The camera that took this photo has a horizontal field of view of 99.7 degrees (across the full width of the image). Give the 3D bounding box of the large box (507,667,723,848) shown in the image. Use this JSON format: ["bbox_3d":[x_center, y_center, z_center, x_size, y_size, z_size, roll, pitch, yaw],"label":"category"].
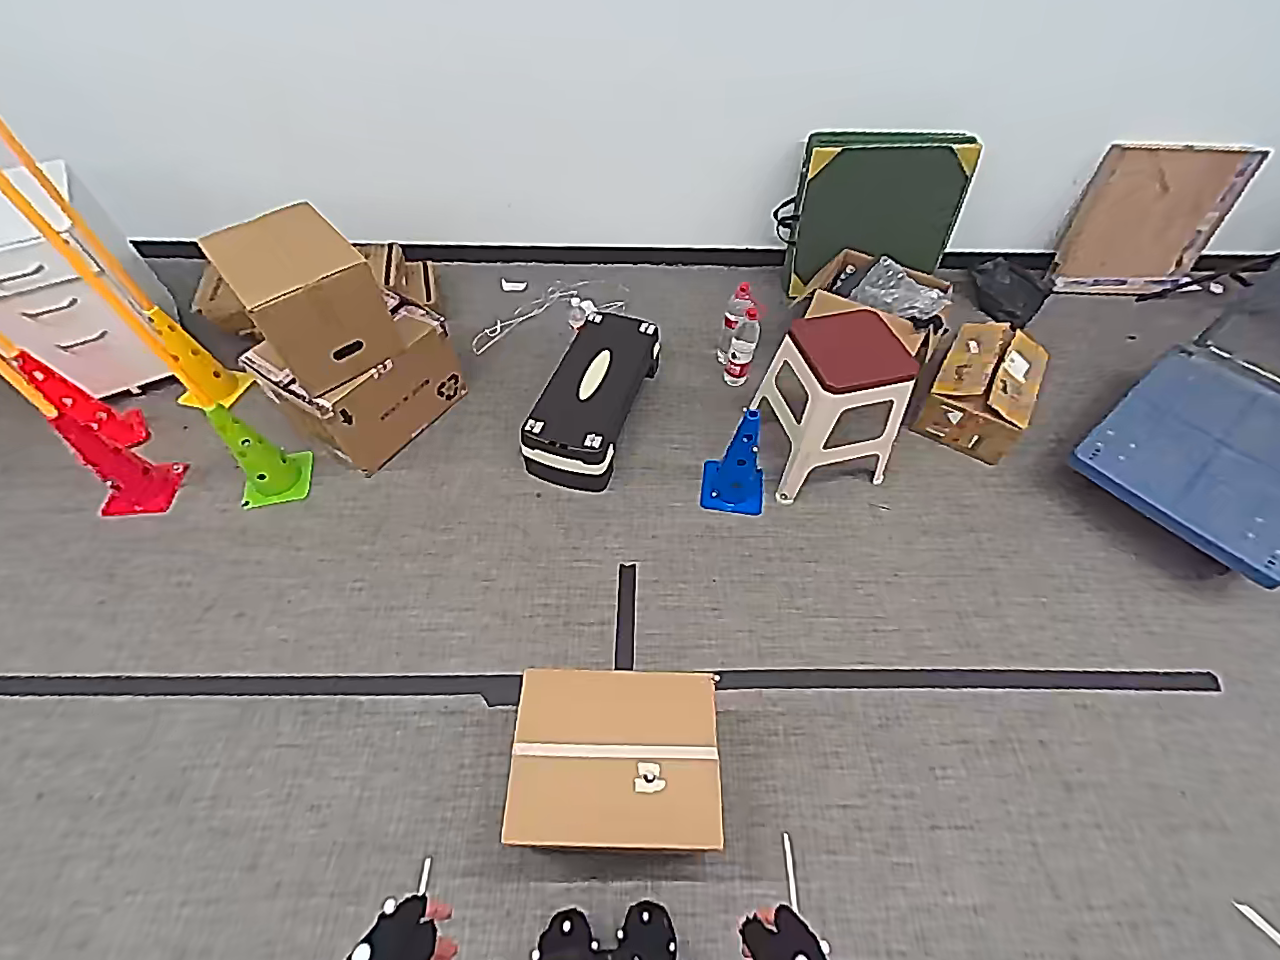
[{"bbox_3d":[-0.051,0.616,1.188,0.408,0.320,0.320,2,55,-1],"label":"large box"}]
